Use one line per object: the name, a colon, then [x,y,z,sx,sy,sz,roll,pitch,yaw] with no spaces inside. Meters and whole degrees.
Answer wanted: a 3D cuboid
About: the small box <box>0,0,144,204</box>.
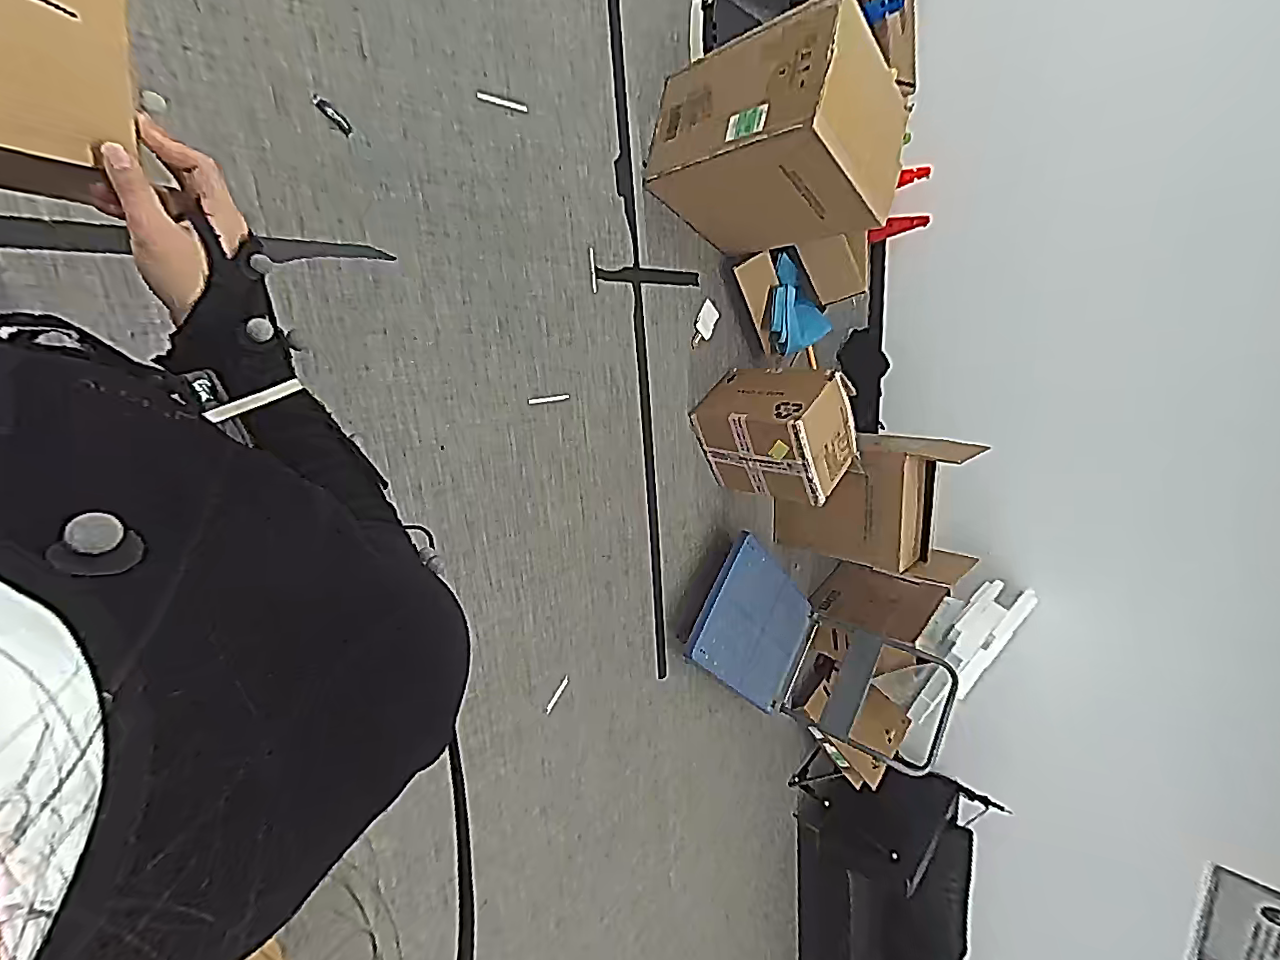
small box: [-0.420,-0.280,0.322,0.179,0.176,0.168,-5,106,-42]
